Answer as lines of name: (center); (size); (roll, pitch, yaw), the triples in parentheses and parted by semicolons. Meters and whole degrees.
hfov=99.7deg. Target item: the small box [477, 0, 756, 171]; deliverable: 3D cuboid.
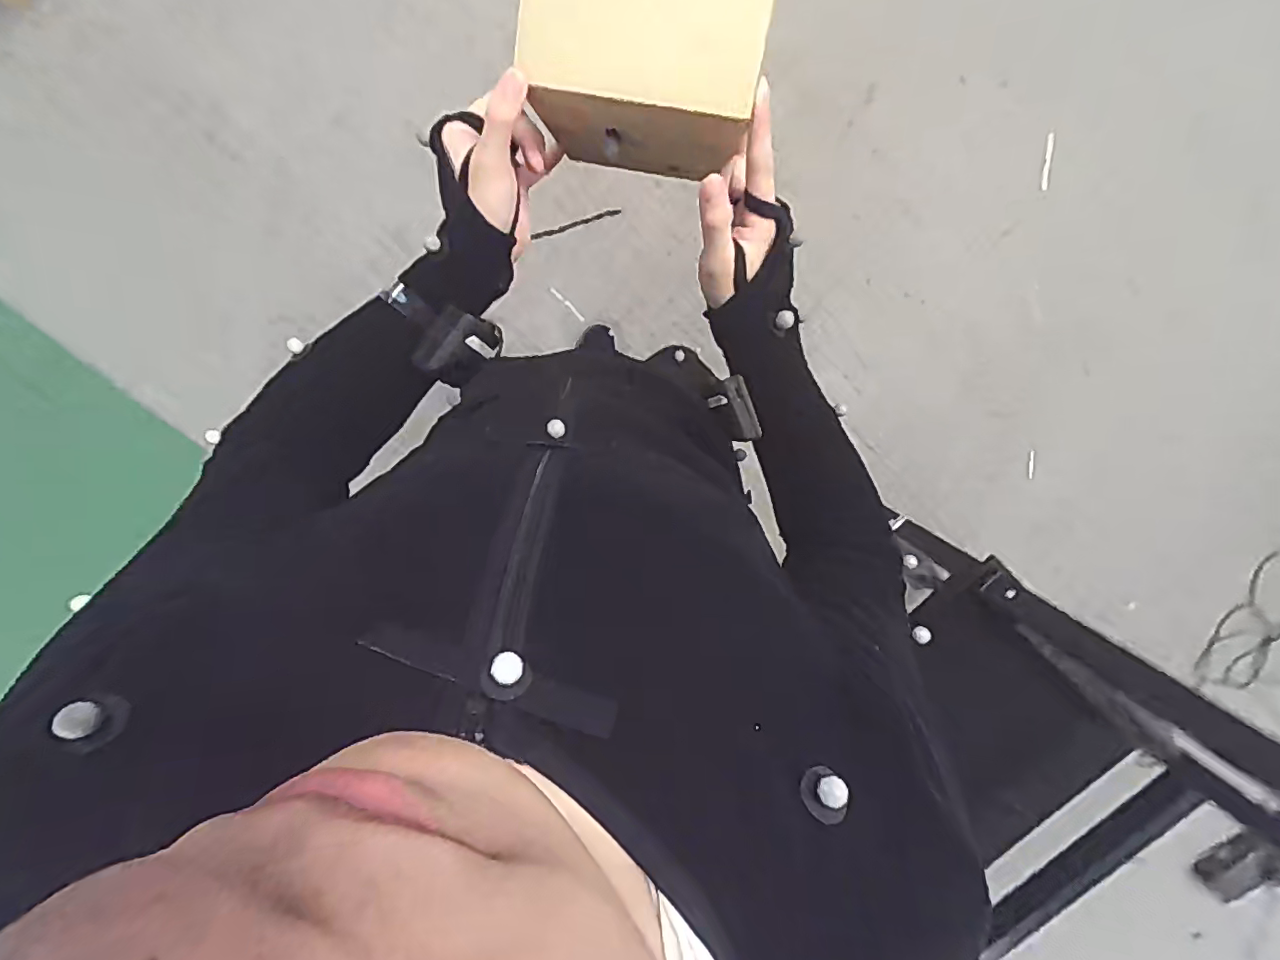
small box: (-0.001, -0.352, 0.396); (0.168, 0.176, 0.179); (13, 106, 2)
